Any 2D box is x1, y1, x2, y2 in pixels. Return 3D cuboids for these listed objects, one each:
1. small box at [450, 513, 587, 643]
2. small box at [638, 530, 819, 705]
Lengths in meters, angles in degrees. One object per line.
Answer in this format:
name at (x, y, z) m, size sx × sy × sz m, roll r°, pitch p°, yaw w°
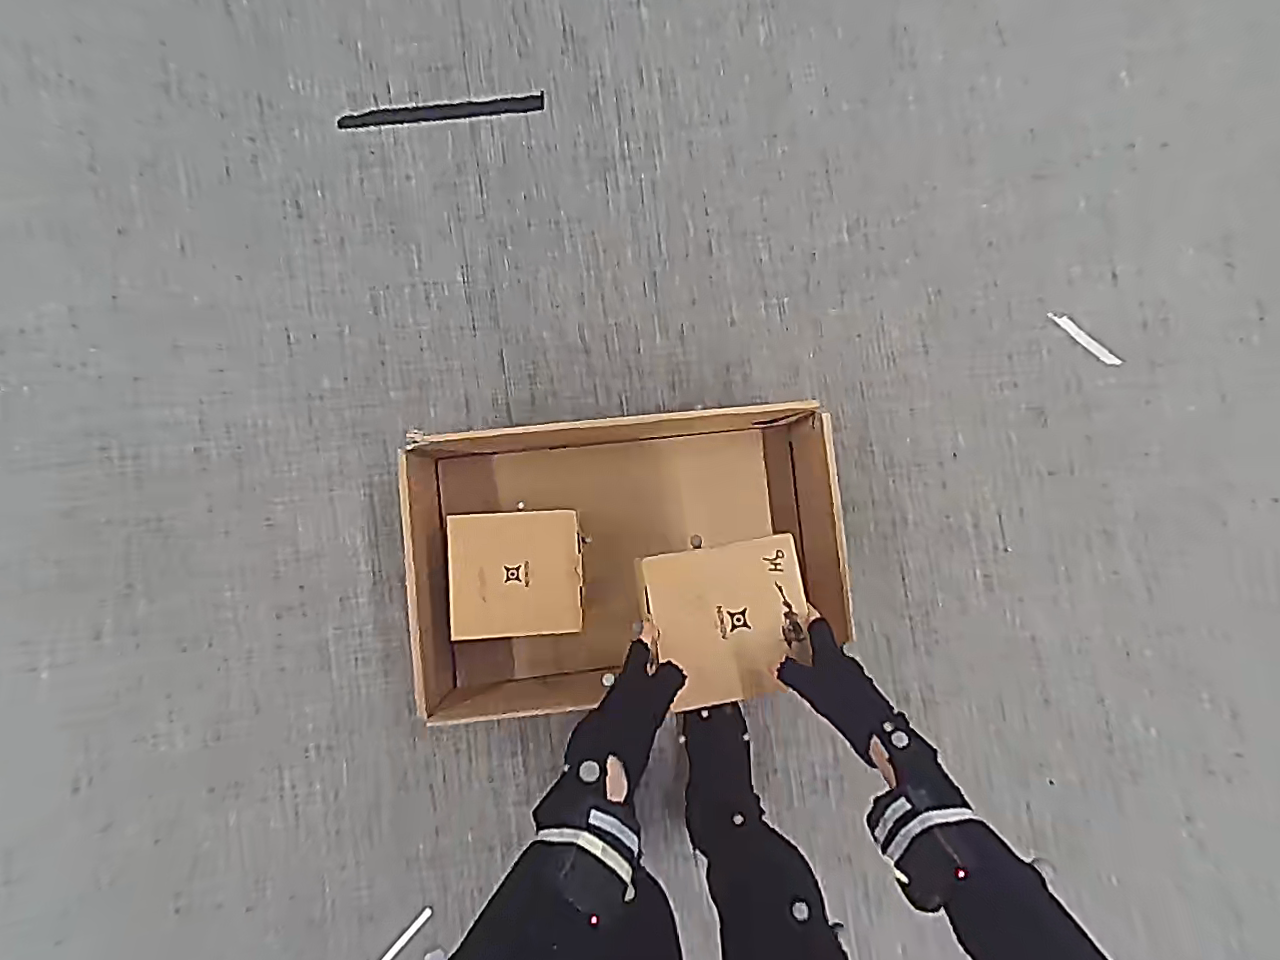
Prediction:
small box at (-0.169, 0.134, 0.799) m, size 0.179 × 0.176 × 0.168 m, roll -3°, pitch 86°, yaw -4°
small box at (0.095, 0.161, 0.673) m, size 0.179 × 0.176 × 0.168 m, roll -10°, pitch 83°, yaw -3°
